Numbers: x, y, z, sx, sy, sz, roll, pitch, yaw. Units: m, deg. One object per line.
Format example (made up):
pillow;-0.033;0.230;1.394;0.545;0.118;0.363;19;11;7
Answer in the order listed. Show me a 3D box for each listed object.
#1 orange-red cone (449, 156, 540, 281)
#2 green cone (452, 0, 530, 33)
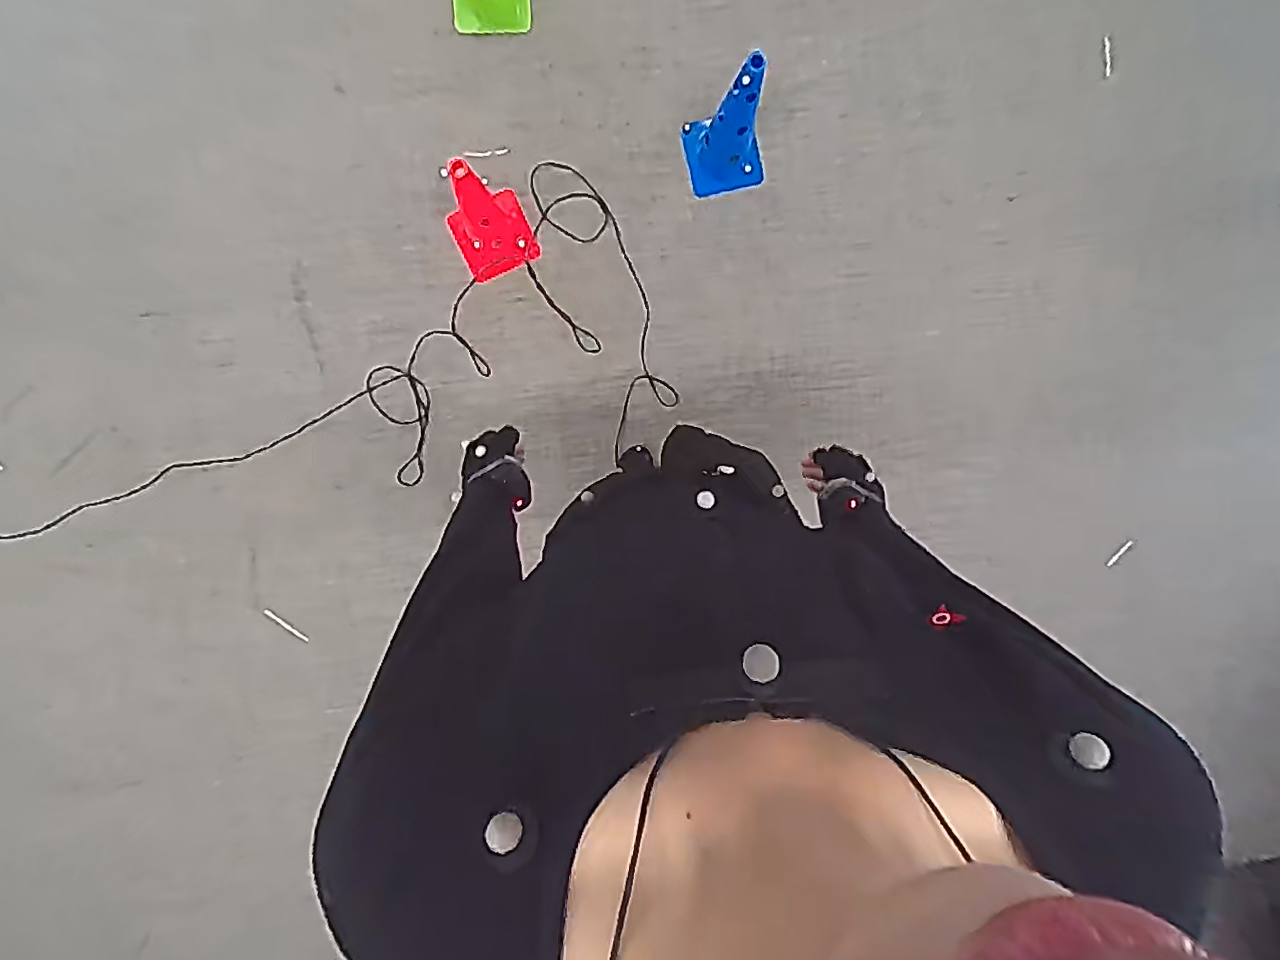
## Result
orange-red cone;-0.380;-0.648;1.278;0.198;0.360;0.199;-25;92;-2
green cone;-0.387;-1.269;1.244;0.200;0.368;0.202;-4;94;-2
